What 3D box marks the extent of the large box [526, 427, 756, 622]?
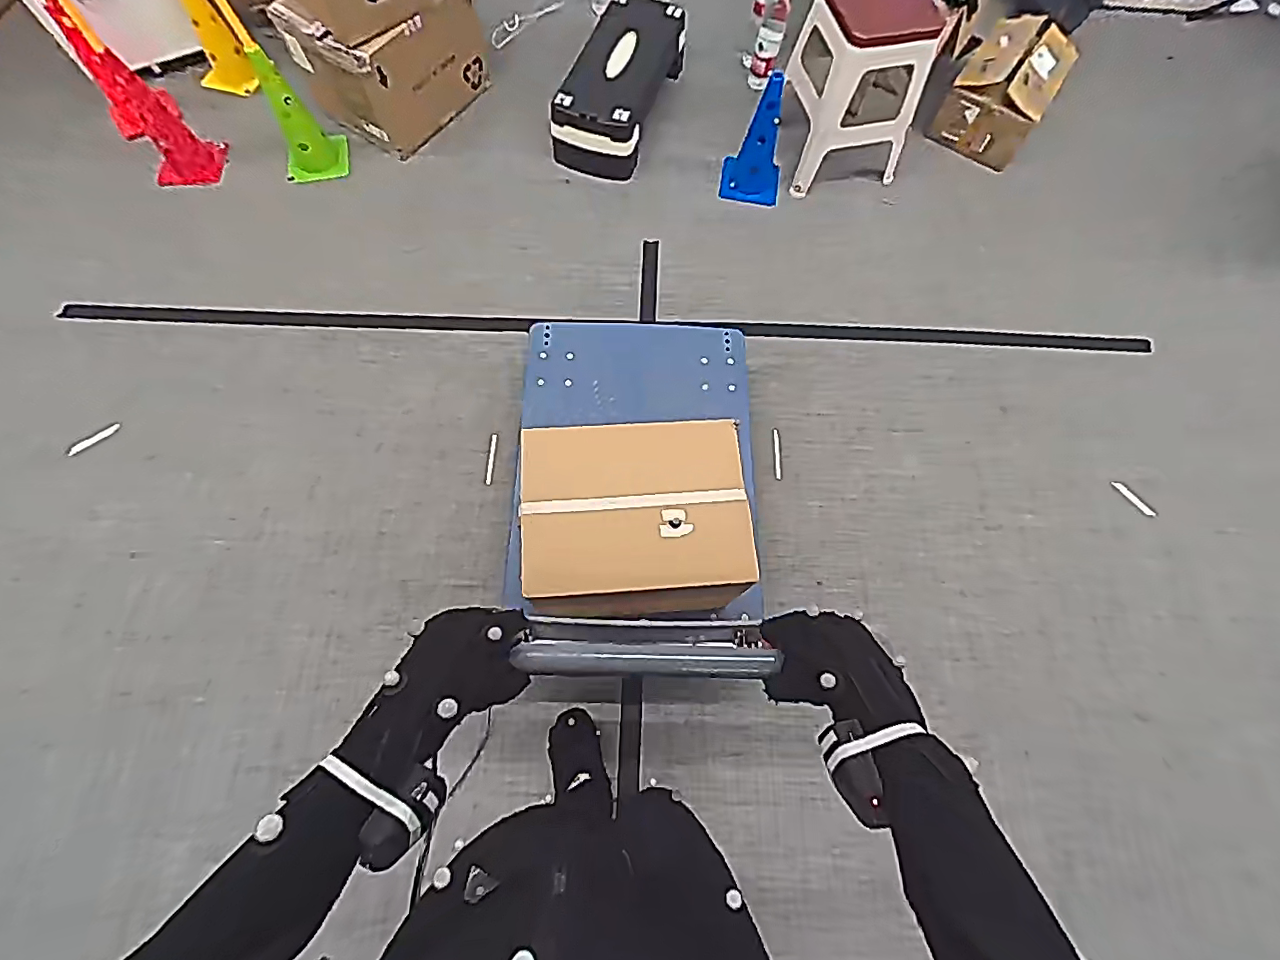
[{"bbox_3d":[-0.015,0.104,1.122,0.408,0.320,0.320,-3,70,-5],"label":"large box"}]
